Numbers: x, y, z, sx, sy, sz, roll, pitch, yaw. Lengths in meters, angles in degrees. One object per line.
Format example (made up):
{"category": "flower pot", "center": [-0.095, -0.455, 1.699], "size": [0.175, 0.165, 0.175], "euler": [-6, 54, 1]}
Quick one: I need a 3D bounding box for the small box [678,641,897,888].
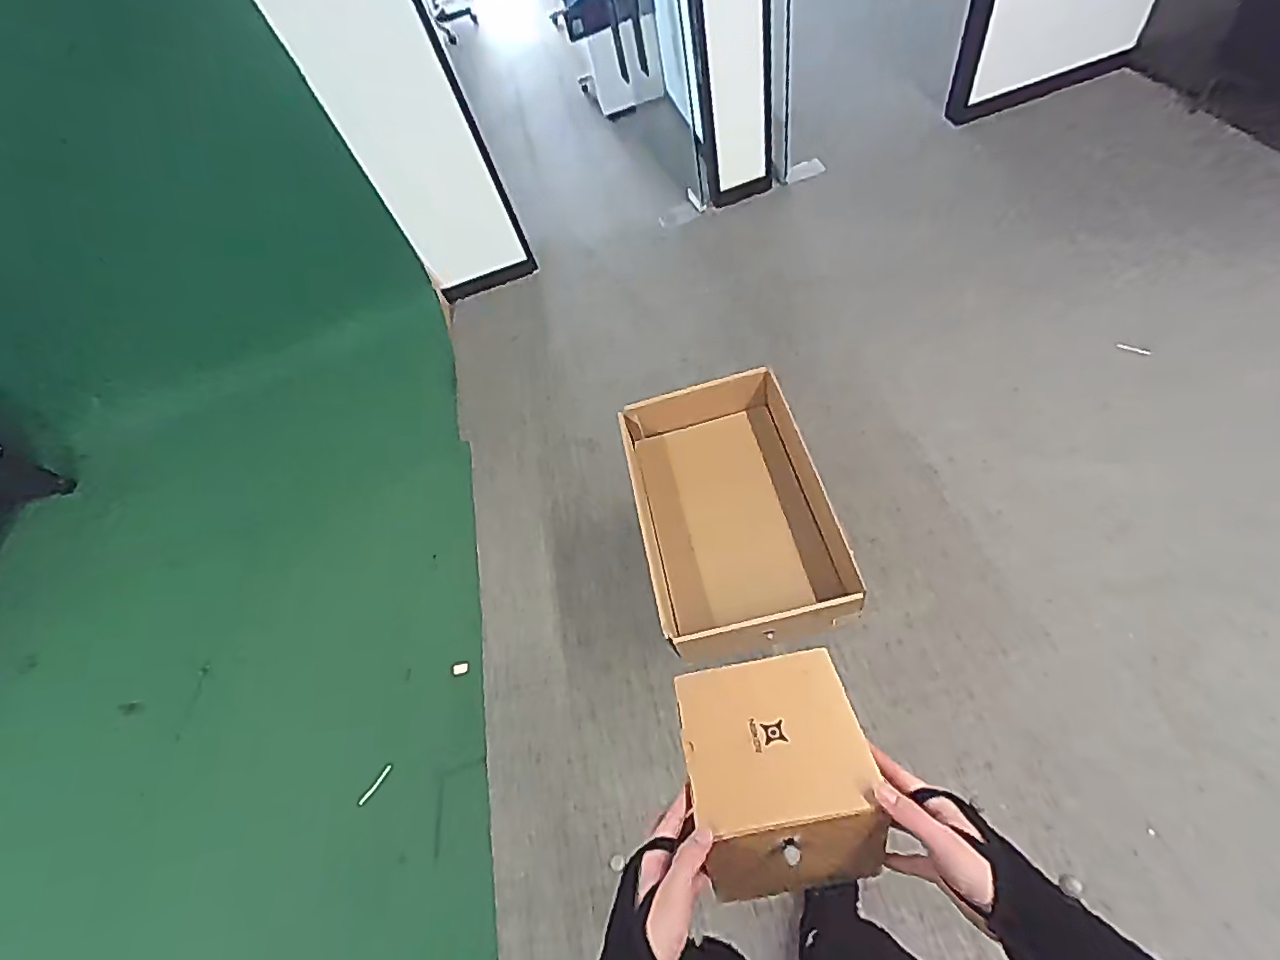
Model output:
{"category": "small box", "center": [0.149, 0.305, 0.581], "size": [0.179, 0.176, 0.168], "euler": [-13, 36, 3]}
